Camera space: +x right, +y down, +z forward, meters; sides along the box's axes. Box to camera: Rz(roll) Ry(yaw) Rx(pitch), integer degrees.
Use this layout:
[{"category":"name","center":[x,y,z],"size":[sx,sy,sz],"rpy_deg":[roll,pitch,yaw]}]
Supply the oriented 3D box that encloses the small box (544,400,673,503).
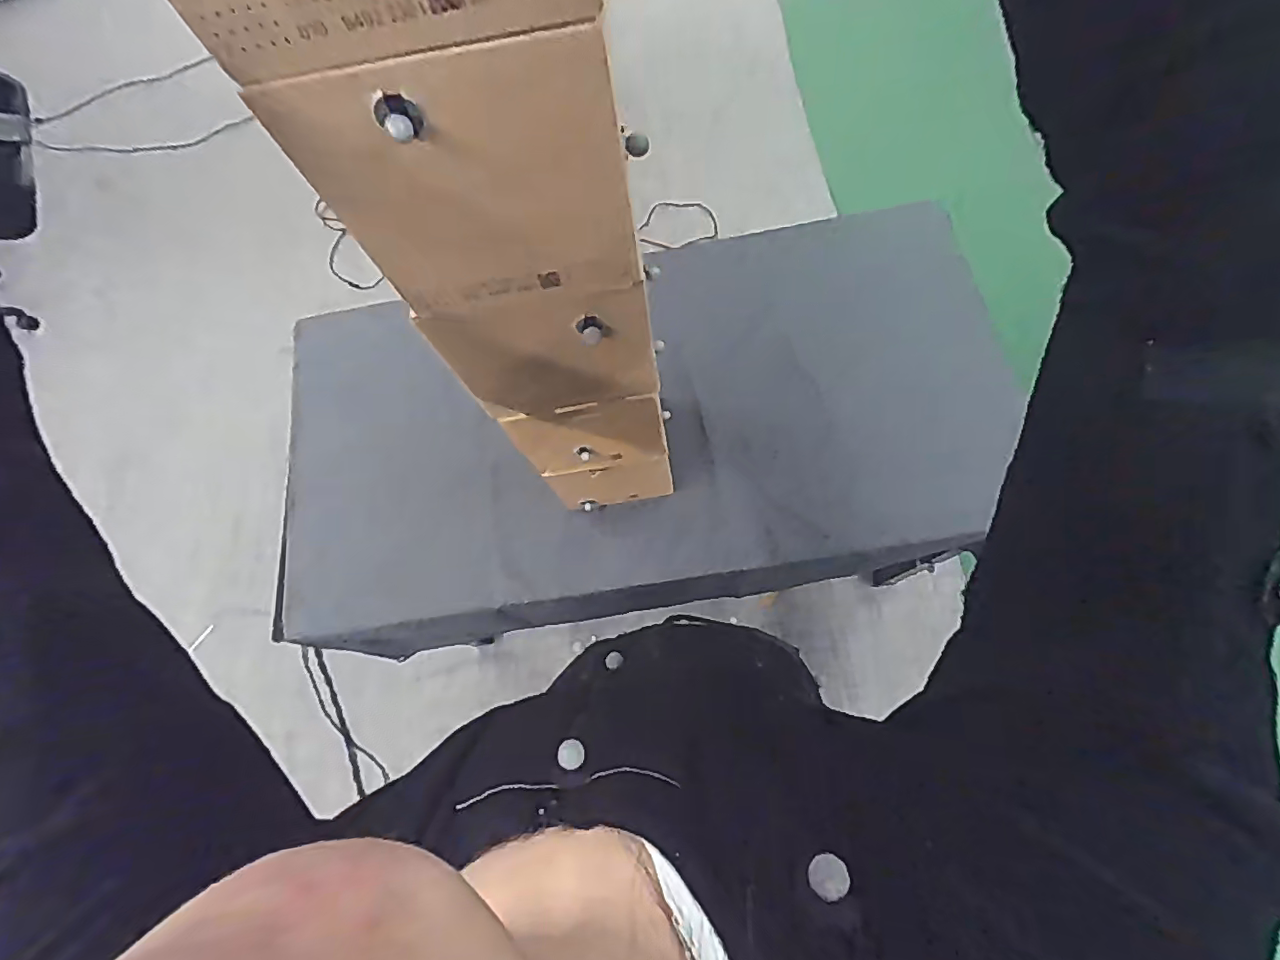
[{"category":"small box","center":[-0.046,-0.074,0.806],"size":[0.168,0.176,0.179],"rpy_deg":[-10,69,3]}]

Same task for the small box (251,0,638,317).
[{"category":"small box","center":[-0.096,-0.234,0.346],"size":[0.168,0.176,0.179],"rpy_deg":[-7,70,4]}]

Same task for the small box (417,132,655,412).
[{"category":"small box","center":[-0.081,-0.179,0.499],"size":[0.179,0.176,0.168],"rpy_deg":[-8,70,4]}]

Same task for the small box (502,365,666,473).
[{"category":"small box","center":[-0.065,-0.127,0.654],"size":[0.168,0.176,0.179],"rpy_deg":[-10,70,4]}]
